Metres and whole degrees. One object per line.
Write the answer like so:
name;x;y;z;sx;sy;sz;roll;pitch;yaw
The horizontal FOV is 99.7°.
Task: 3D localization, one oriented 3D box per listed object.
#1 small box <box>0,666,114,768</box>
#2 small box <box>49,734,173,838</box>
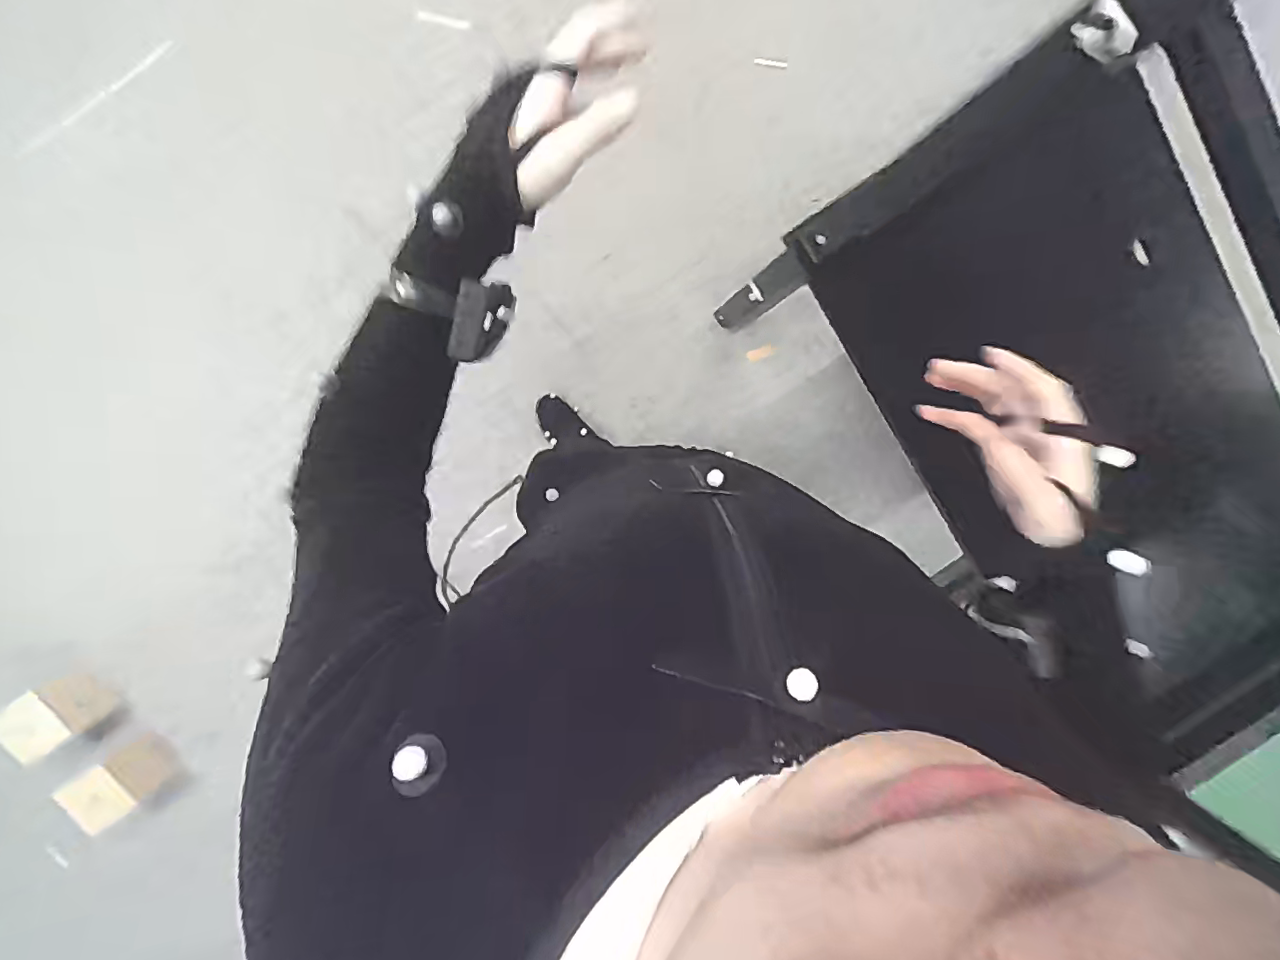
small box;-1.691;0.675;1.560;0.179;0.176;0.168;-33;99;2
small box;-1.544;0.895;1.598;0.179;0.176;0.168;-33;98;2
